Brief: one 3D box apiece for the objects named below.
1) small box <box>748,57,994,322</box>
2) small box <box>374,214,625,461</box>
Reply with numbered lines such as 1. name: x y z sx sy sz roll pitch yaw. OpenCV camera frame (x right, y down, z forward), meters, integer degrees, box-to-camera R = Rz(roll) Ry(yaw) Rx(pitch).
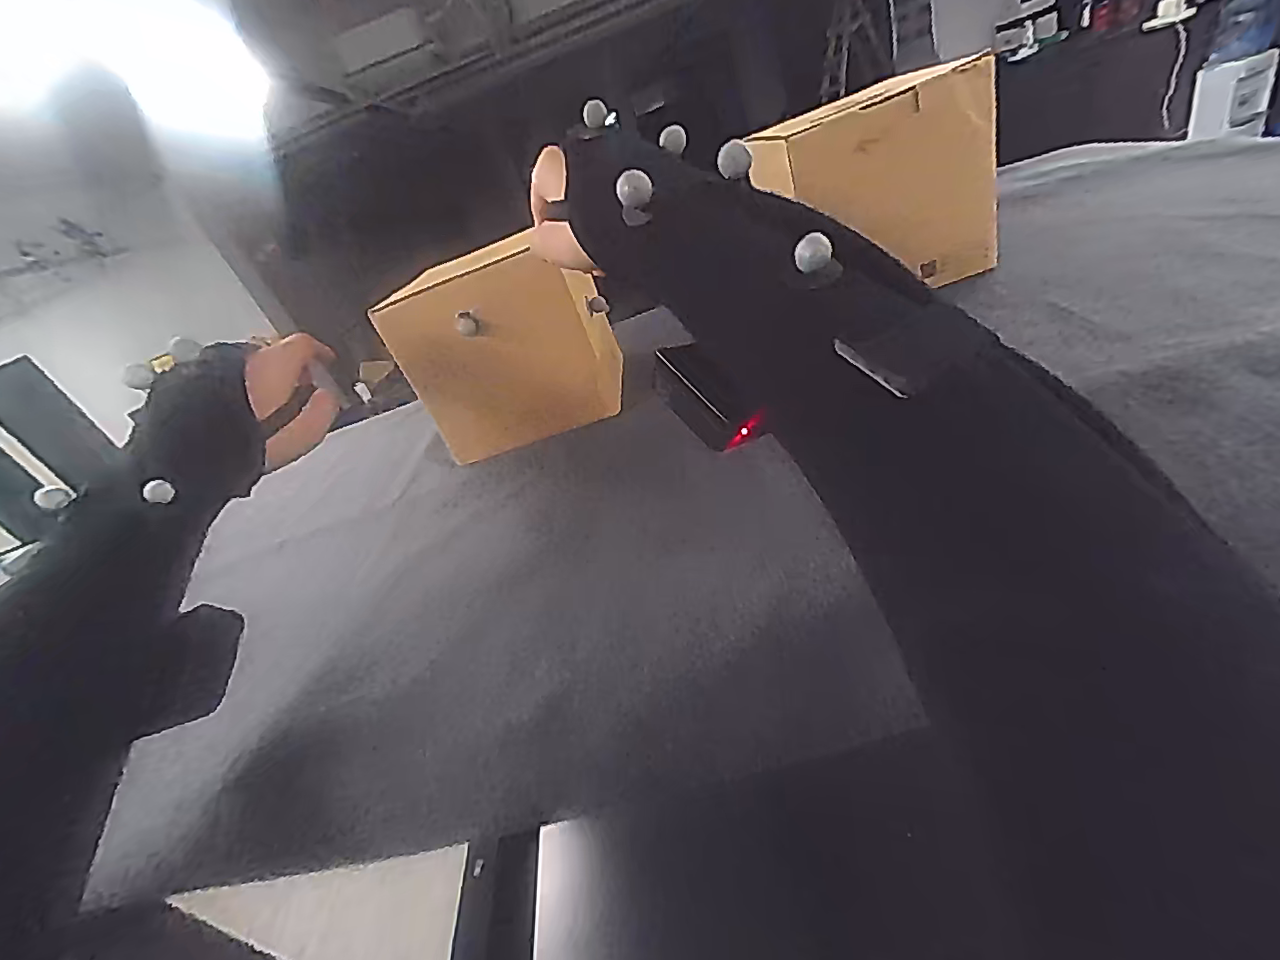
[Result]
1. small box: 0.220 -0.274 0.534 0.168 0.176 0.179 -17 30 8
2. small box: -0.122 -0.146 0.555 0.179 0.176 0.168 -17 31 10
